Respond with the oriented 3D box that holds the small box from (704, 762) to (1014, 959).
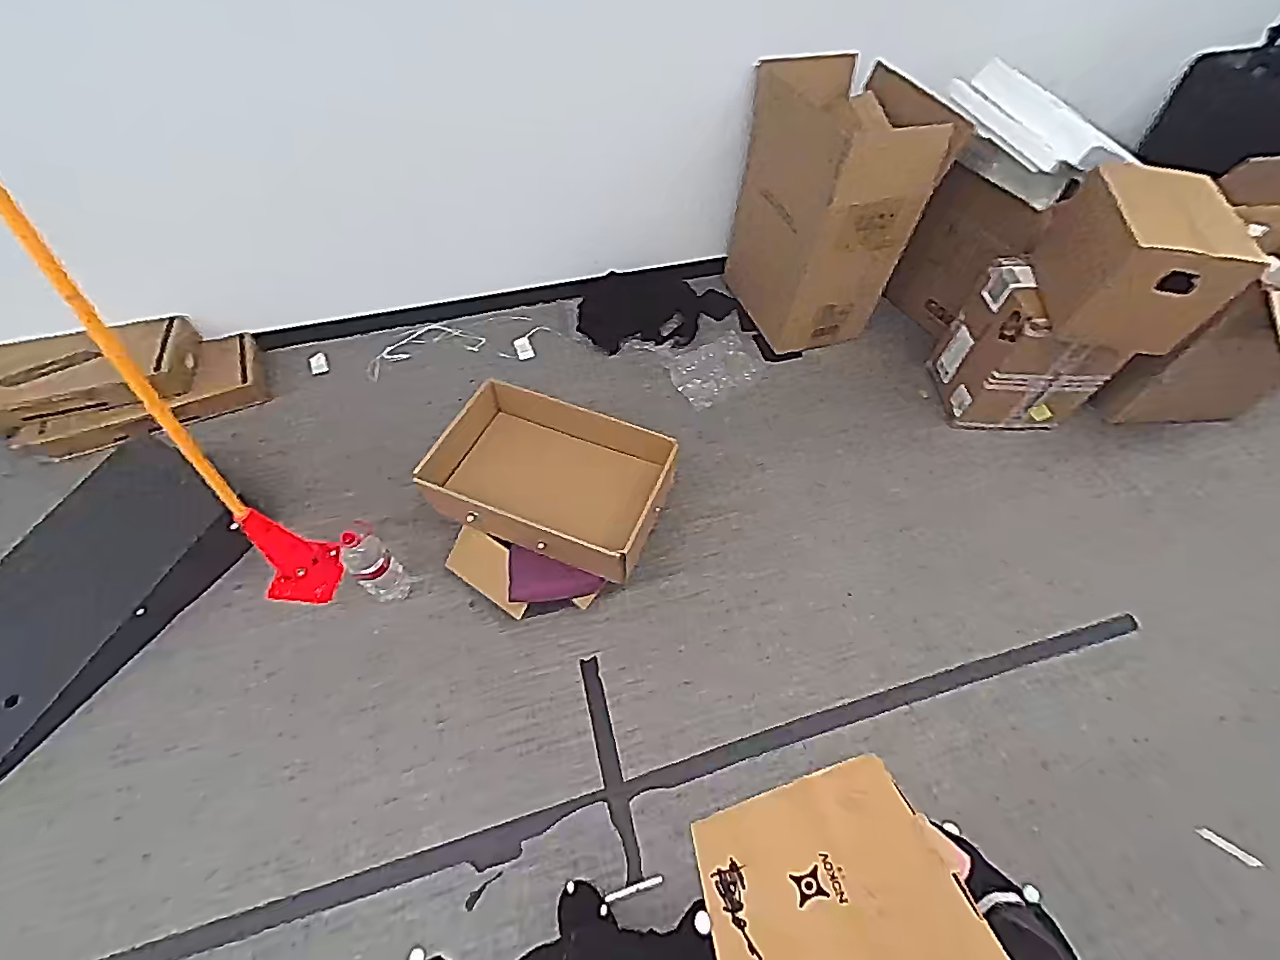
[{"bbox_3d":[0.170,0.372,0.427,0.179,0.176,0.168,-21,18,2],"label":"small box"}]
